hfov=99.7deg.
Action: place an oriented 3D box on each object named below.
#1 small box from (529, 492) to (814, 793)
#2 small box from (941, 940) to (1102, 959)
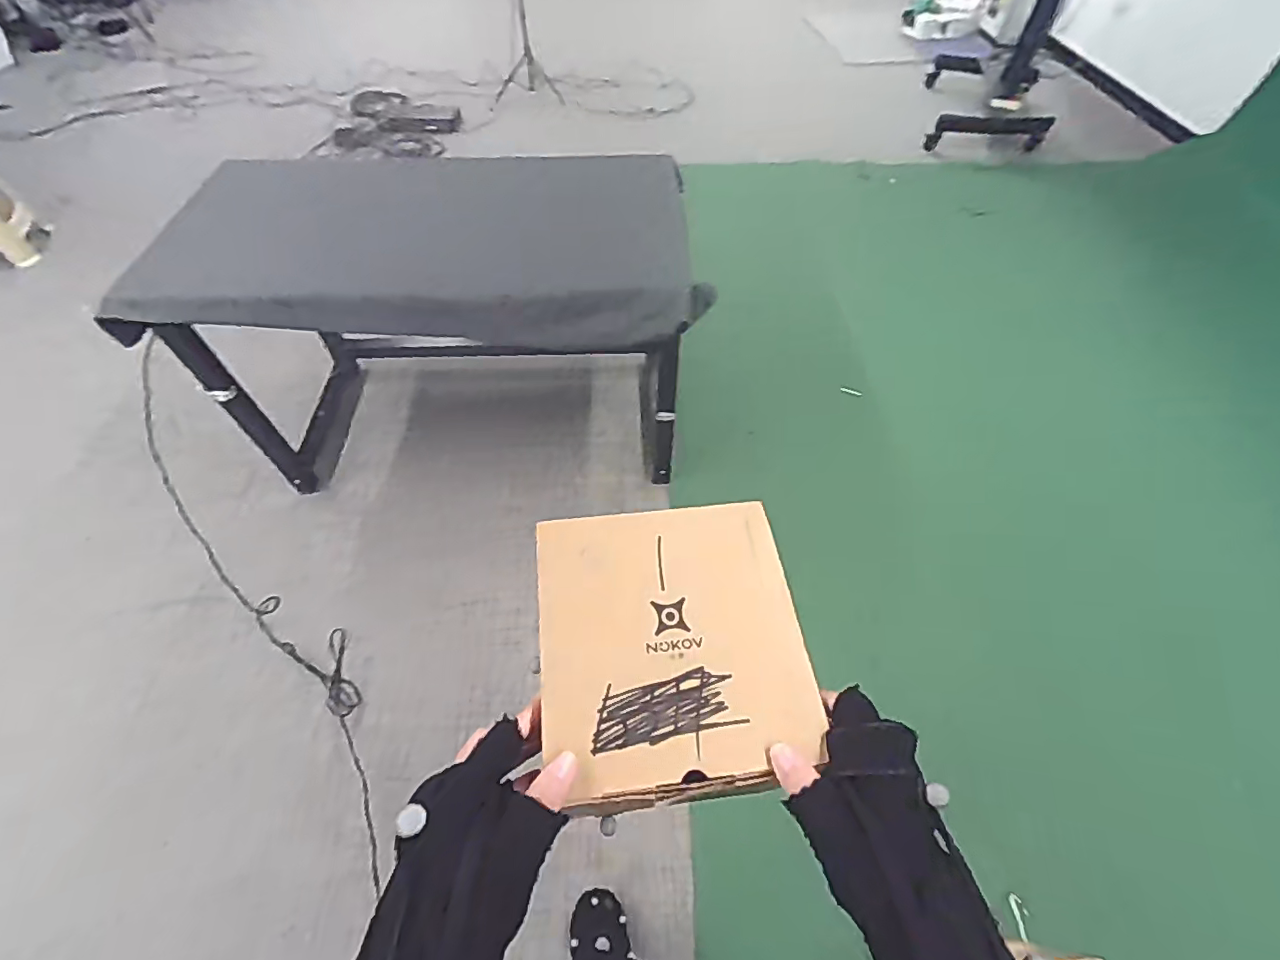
[{"bbox_3d":[0.009,0.131,0.414,0.168,0.176,0.179,-5,57,-6],"label":"small box"},{"bbox_3d":[0.613,0.831,0.840,0.179,0.176,0.168,1,53,-1],"label":"small box"}]
